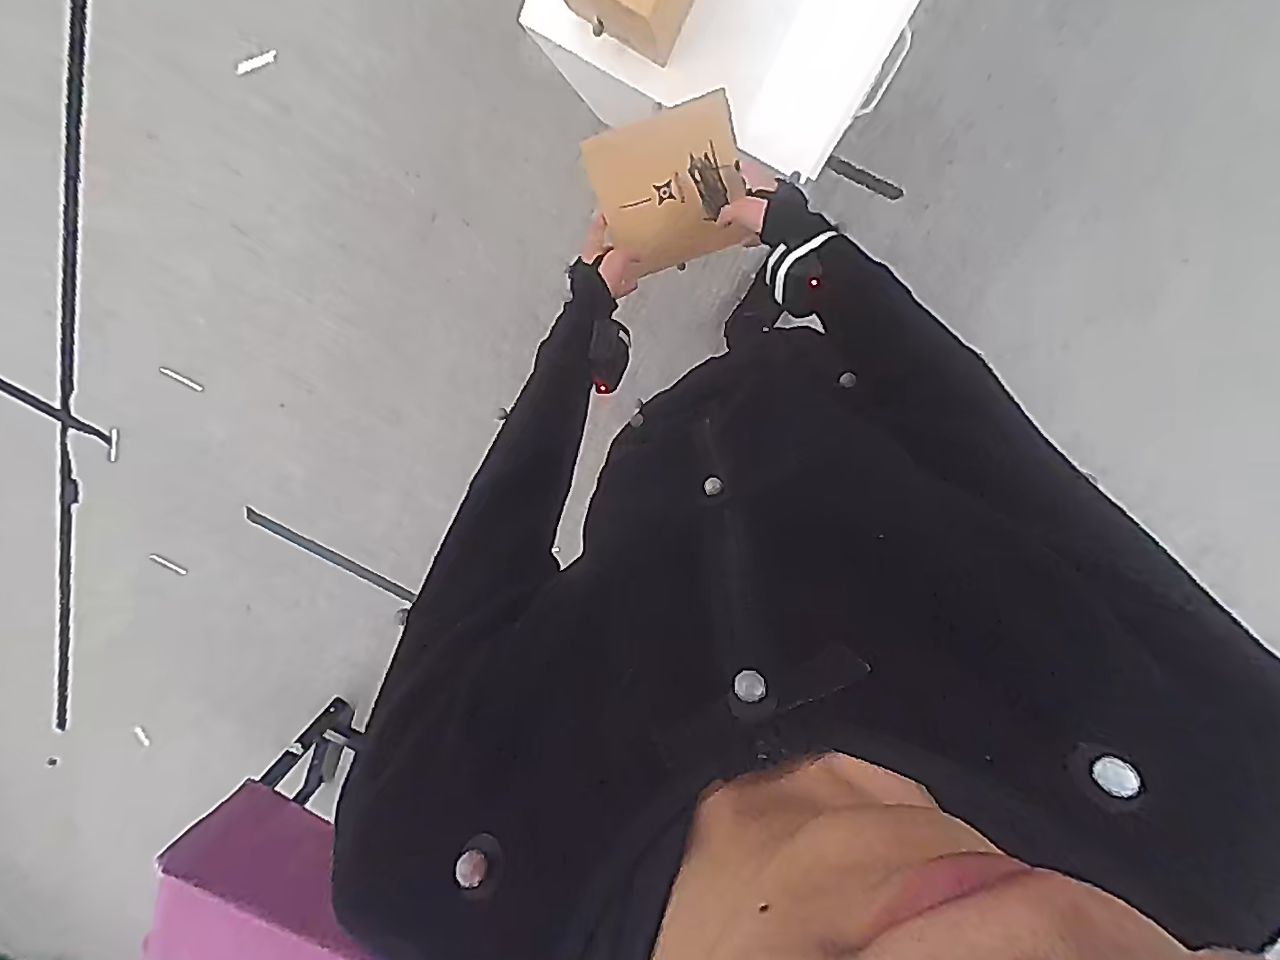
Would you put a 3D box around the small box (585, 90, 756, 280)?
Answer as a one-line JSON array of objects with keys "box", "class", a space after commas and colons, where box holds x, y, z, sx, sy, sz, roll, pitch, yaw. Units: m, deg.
[{"box": [0.038, -0.383, 0.720, 0.179, 0.176, 0.168, -16, 115, 7], "class": "small box"}]

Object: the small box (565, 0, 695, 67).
[{"box": [-0.009, -0.702, 0.710, 0.168, 0.176, 0.179, 30, 111, -2], "class": "small box"}]
